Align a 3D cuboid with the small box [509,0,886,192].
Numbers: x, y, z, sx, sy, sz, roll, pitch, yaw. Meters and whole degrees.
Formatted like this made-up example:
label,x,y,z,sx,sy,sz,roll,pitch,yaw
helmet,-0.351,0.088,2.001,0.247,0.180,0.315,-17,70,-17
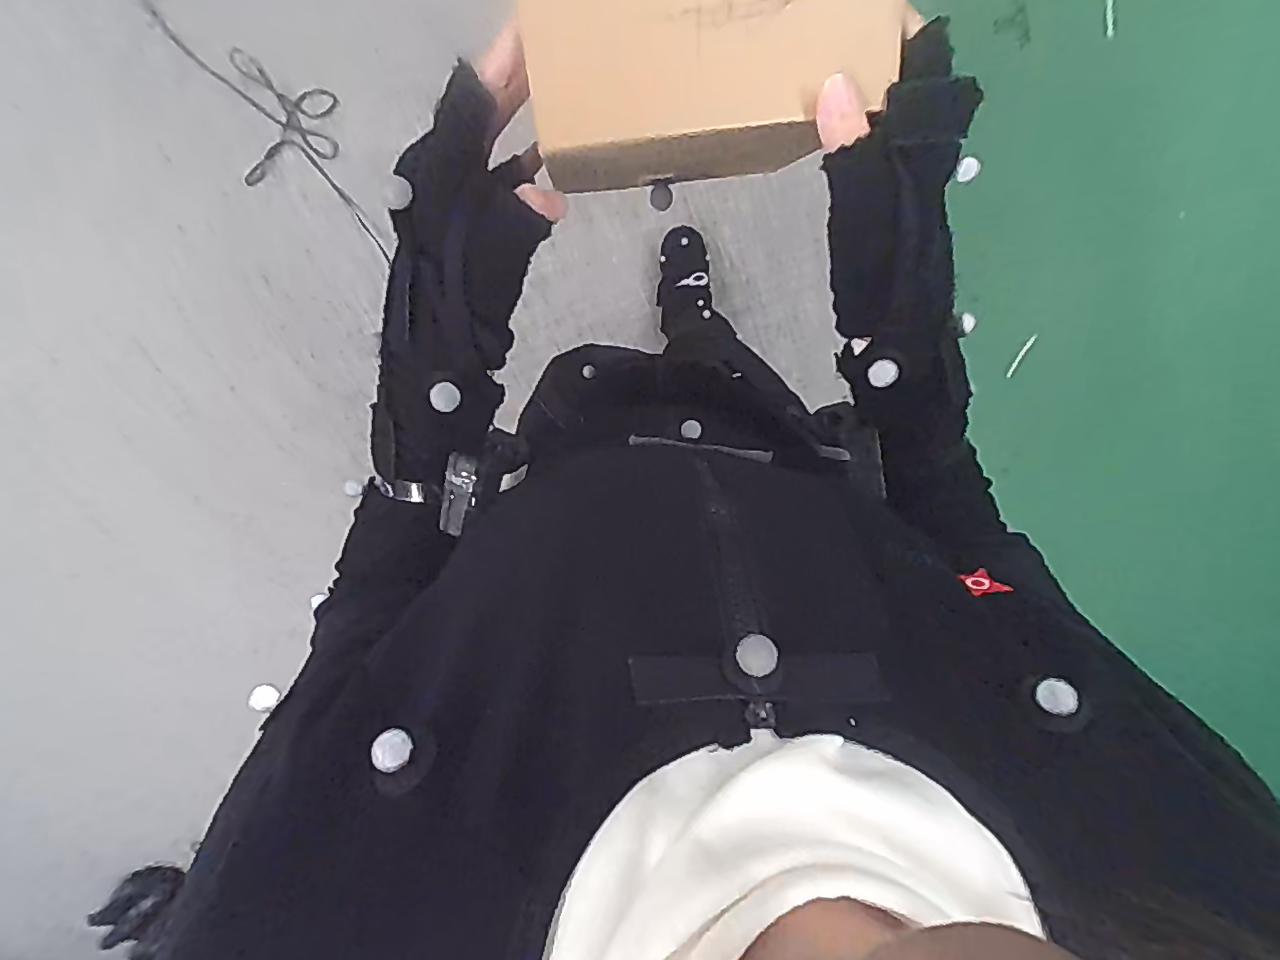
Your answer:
label,x,y,z,sx,sy,sz,roll,pitch,yaw
small box,0.015,-0.273,0.291,0.168,0.176,0.179,-8,111,-2
